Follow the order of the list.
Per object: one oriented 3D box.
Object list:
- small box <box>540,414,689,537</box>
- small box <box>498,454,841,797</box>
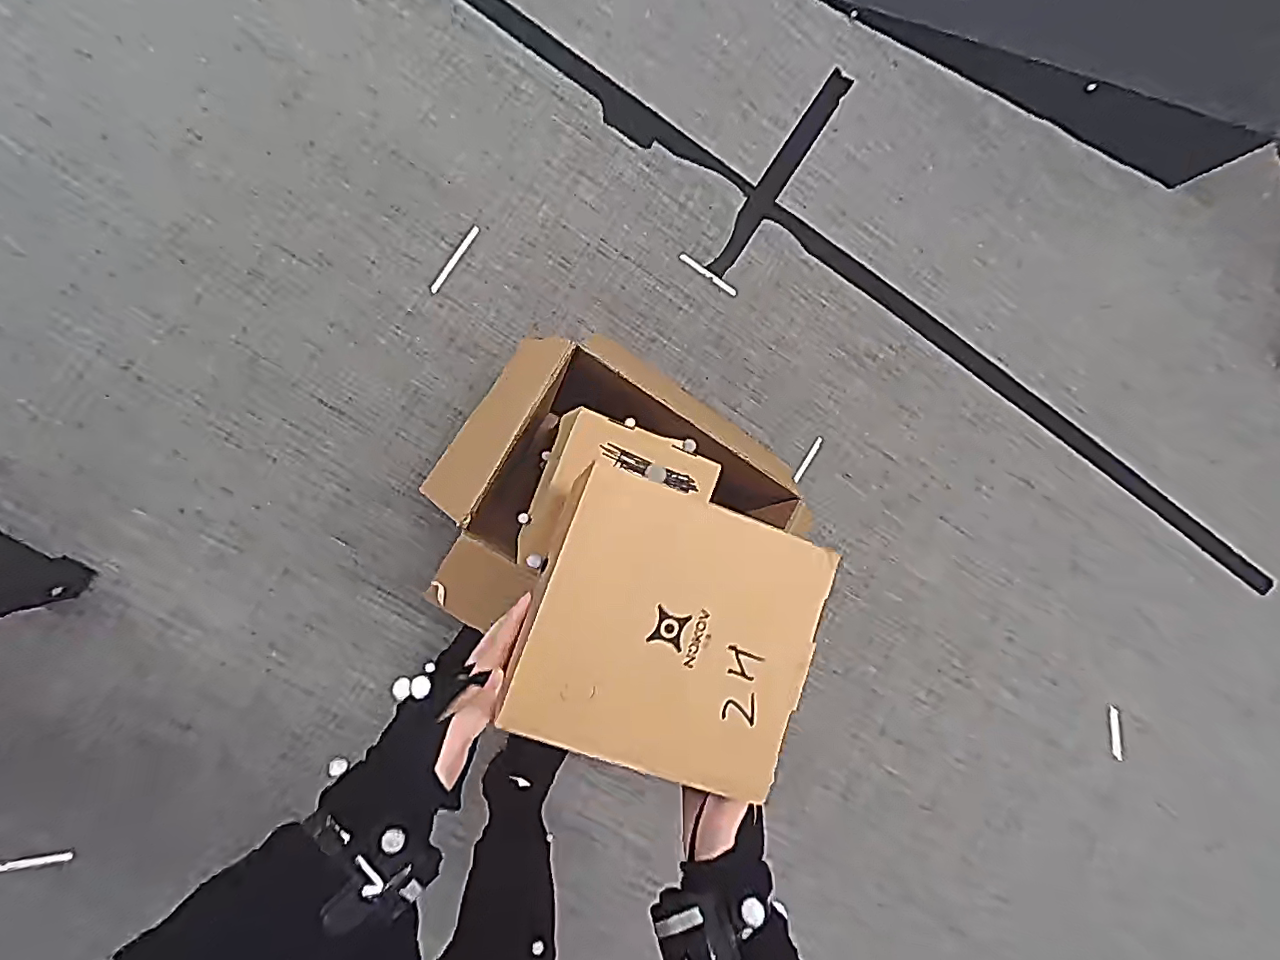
[{"bbox_3d":[-0.048,0.007,0.802,0.179,0.176,0.168,12,91,-13],"label":"small box"},{"bbox_3d":[0.011,0.096,0.409,0.179,0.176,0.168,22,83,-9],"label":"small box"}]
